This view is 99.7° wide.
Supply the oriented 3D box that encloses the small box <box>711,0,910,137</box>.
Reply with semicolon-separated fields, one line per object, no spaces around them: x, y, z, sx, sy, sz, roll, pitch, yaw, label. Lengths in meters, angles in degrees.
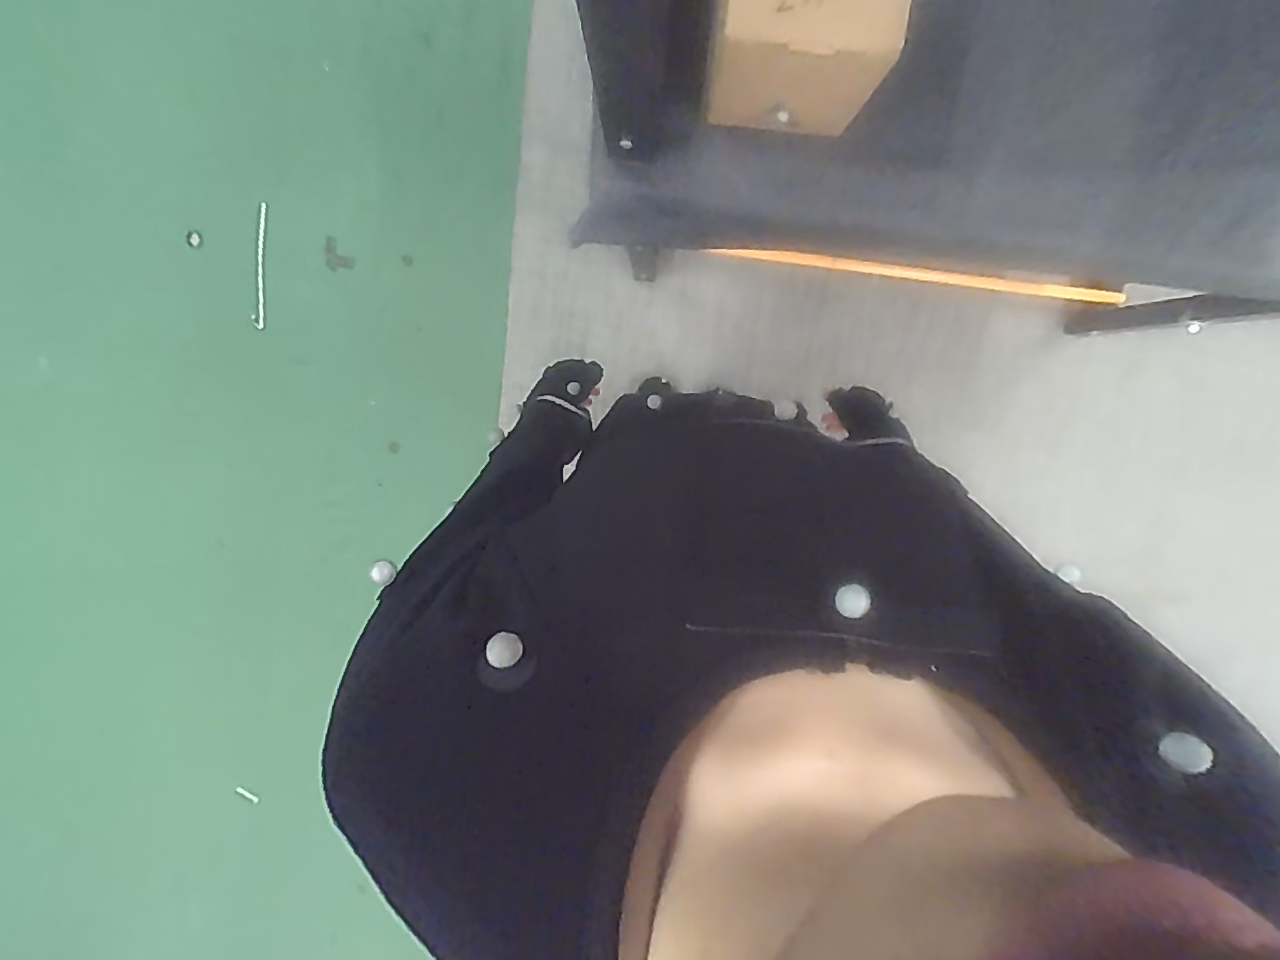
0.170;-0.497;0.565;0.168;0.176;0.179;6;100;1;small box
